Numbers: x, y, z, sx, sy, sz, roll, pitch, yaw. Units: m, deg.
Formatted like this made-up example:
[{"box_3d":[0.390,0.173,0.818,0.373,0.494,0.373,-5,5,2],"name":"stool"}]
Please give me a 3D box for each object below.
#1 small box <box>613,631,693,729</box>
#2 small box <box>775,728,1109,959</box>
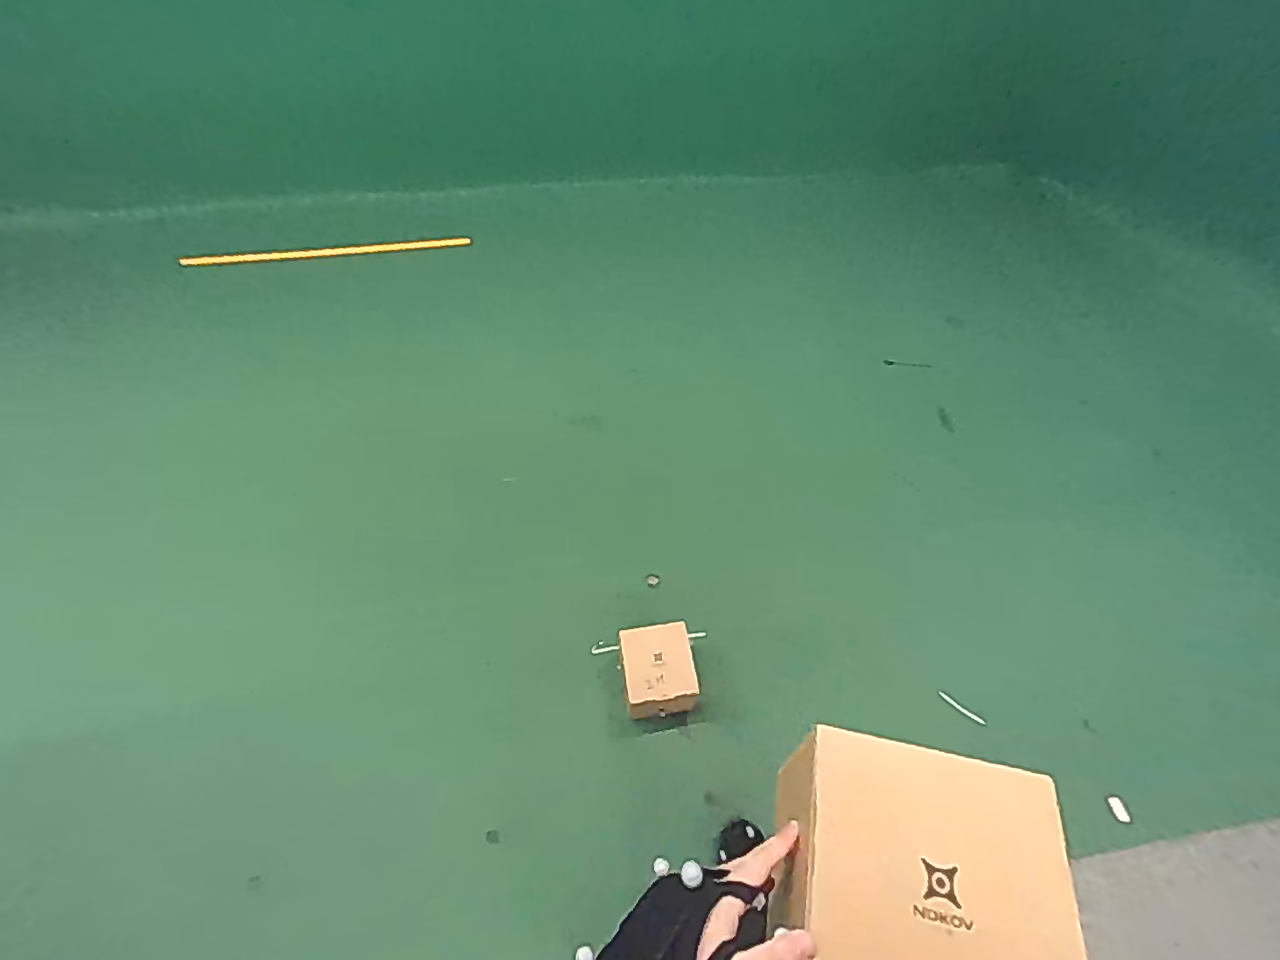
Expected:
[{"box_3d":[0.025,0.492,1.328,0.168,0.176,0.179,-6,54,-7],"name":"small box"},{"box_3d":[0.203,0.316,0.404,0.168,0.176,0.179,11,52,9],"name":"small box"}]
